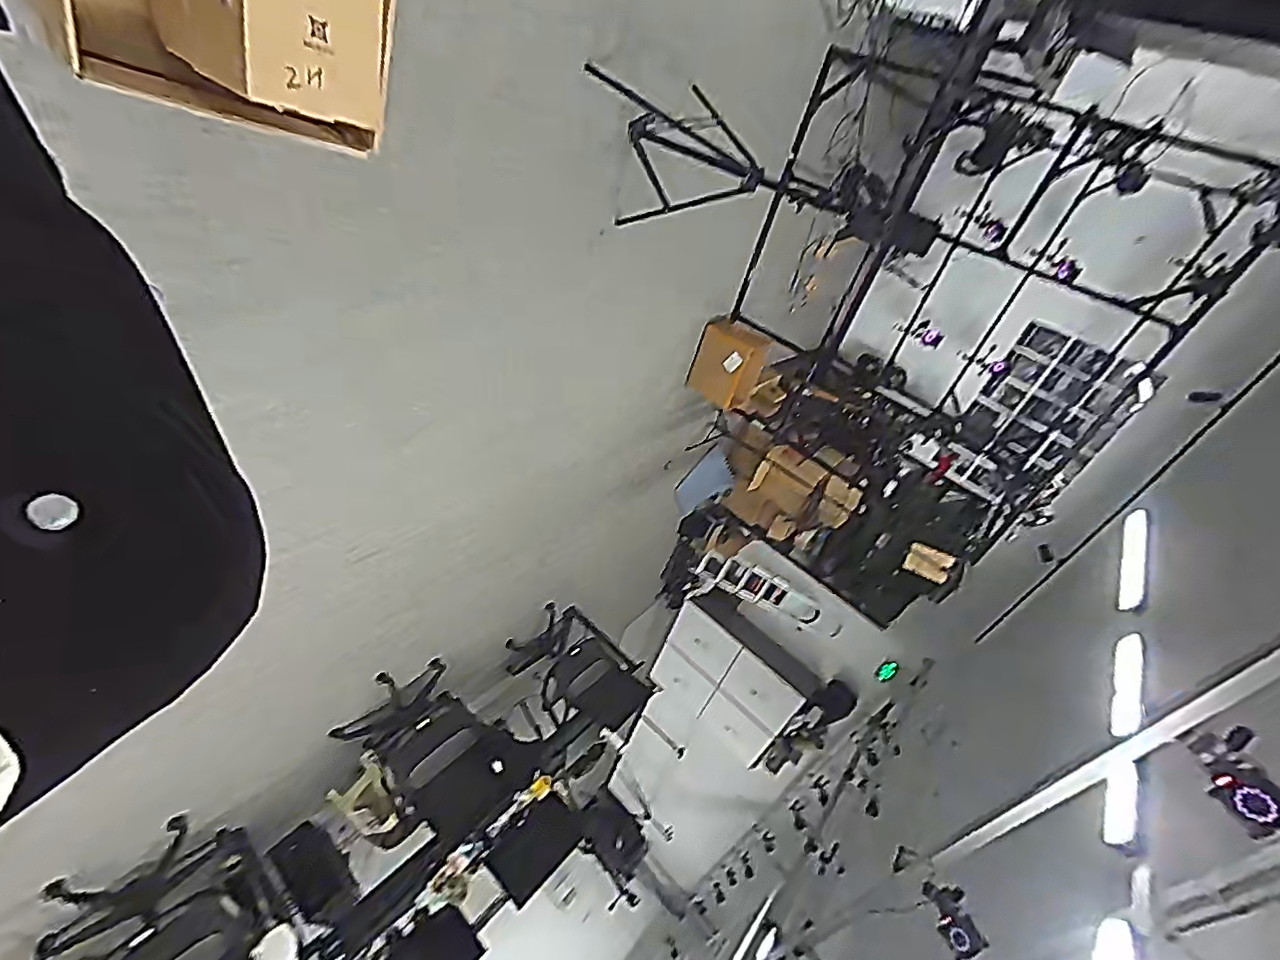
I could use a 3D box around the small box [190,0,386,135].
[{"bbox_3d":[-0.458,-0.587,0.704,0.168,0.176,0.179,-22,141,-49],"label":"small box"}]
